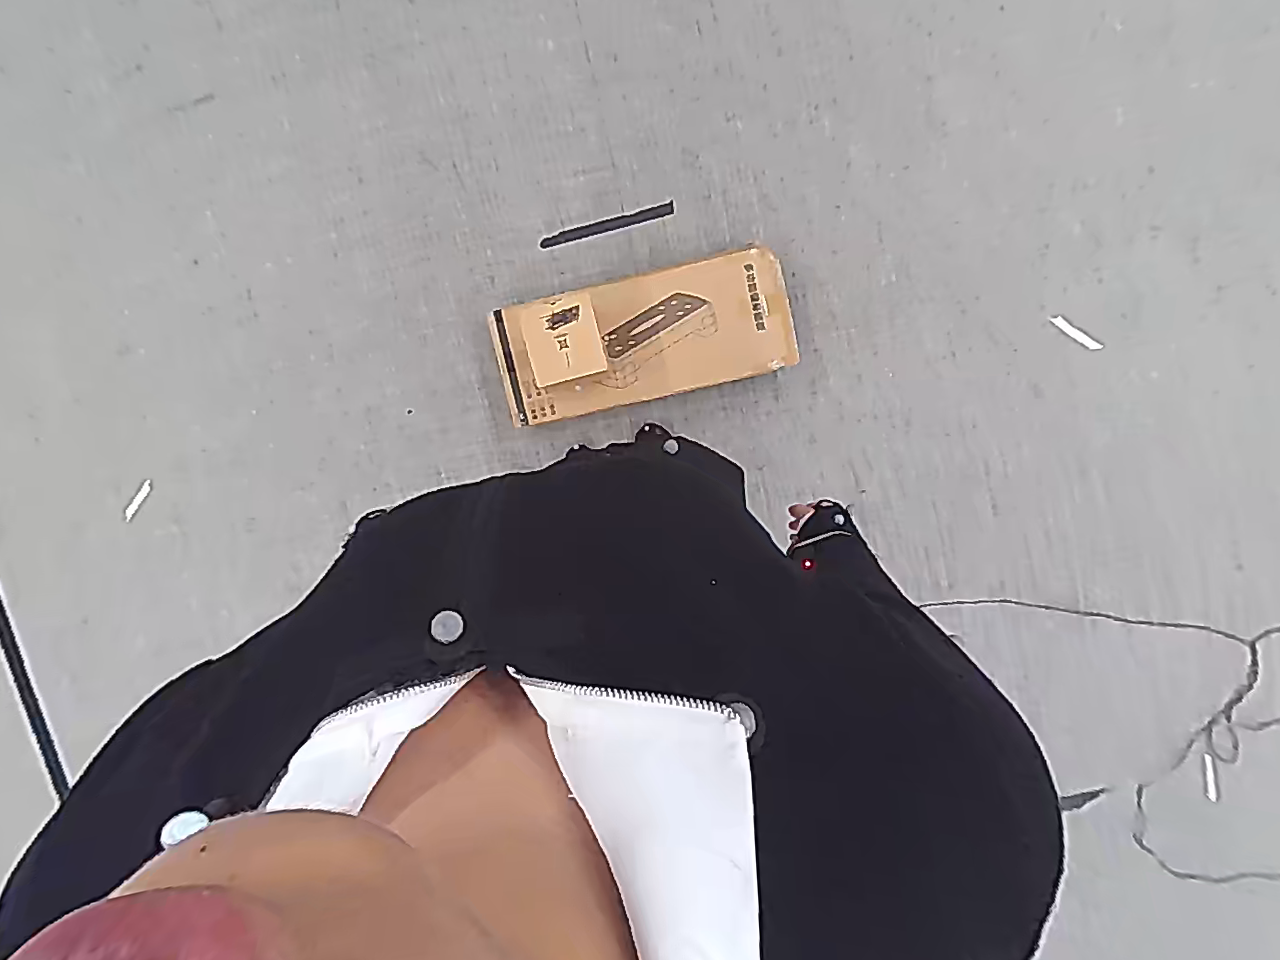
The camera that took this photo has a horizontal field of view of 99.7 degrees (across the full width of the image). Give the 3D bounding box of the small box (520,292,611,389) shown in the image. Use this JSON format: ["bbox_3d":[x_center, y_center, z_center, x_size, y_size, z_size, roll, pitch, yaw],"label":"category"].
[{"bbox_3d":[-0.168,-0.320,1.274,0.168,0.176,0.179,-14,96,3],"label":"small box"}]
